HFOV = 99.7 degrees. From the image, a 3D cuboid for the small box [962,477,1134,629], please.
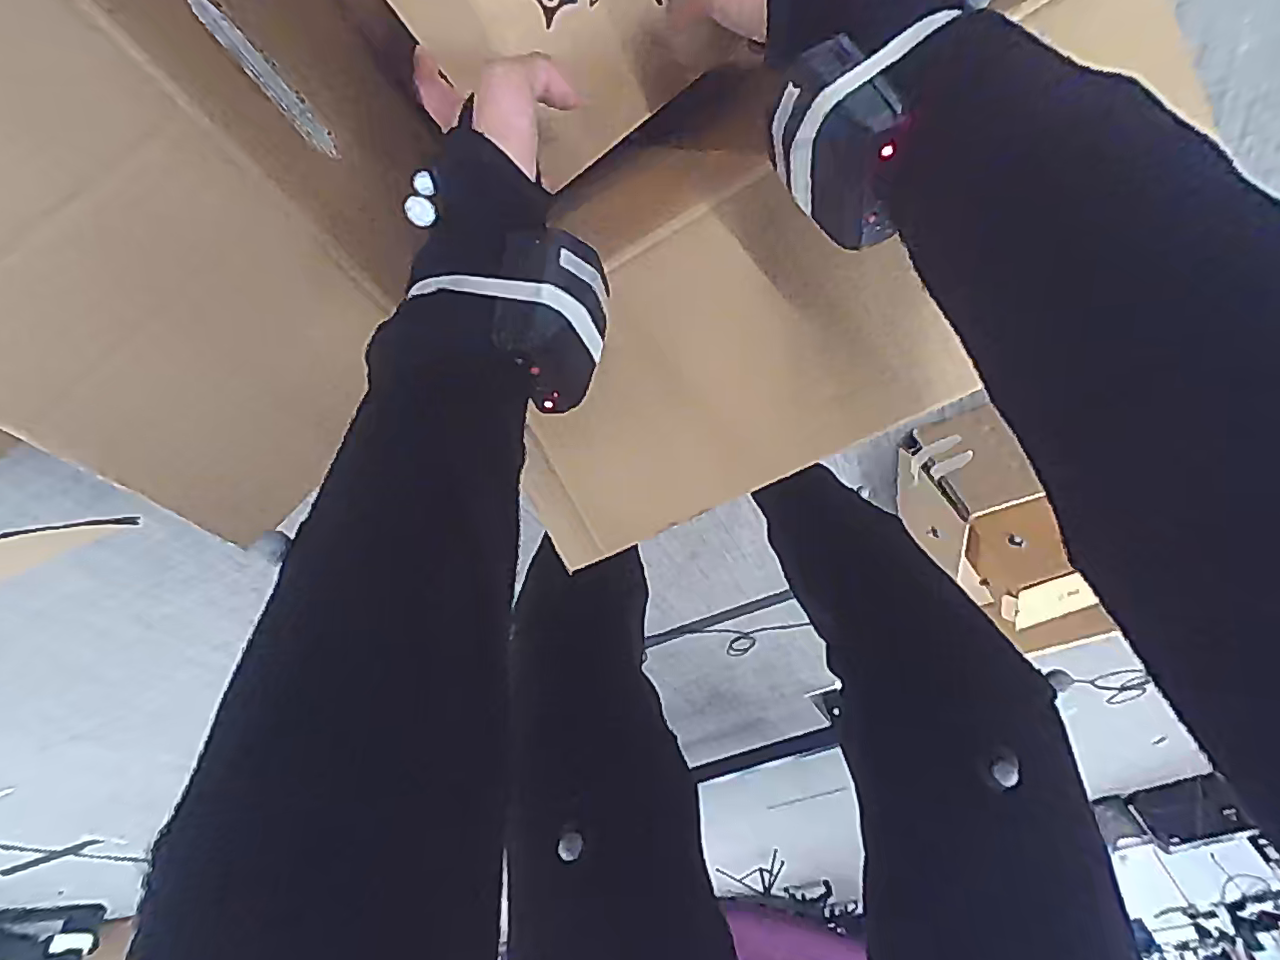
[{"bbox_3d":[0.687,0.127,0.939,0.179,0.176,0.168,-24,136,13],"label":"small box"}]
